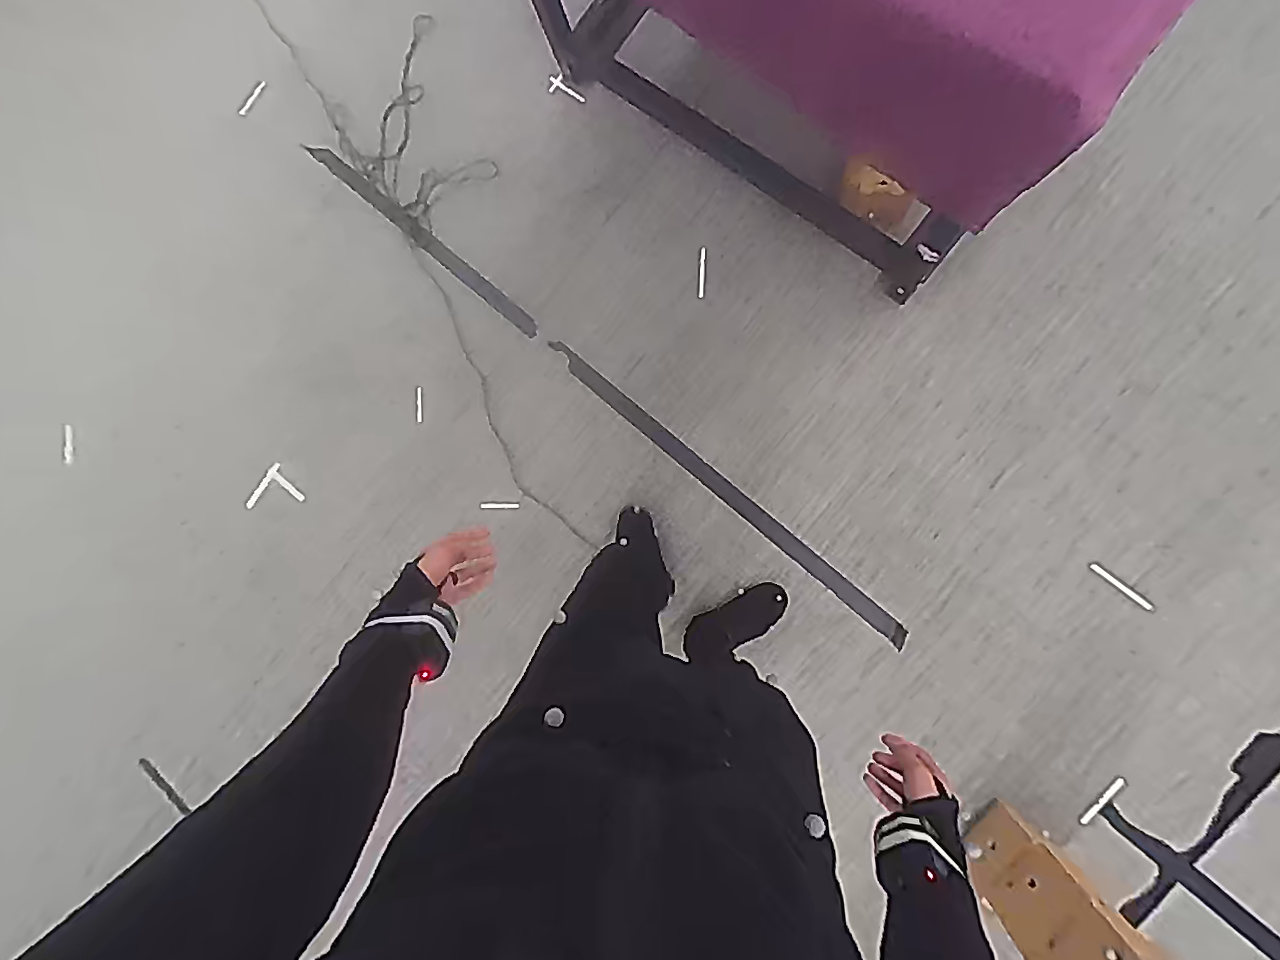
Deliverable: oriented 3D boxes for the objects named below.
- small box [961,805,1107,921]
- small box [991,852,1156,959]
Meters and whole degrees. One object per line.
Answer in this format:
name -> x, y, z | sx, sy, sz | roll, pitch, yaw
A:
small box -> 0.841, 0.868, 1.182 | 0.168, 0.176, 0.179 | 38, 94, 11
small box -> 0.821, 0.864, 1.020 | 0.179, 0.176, 0.168 | 42, 96, 11
